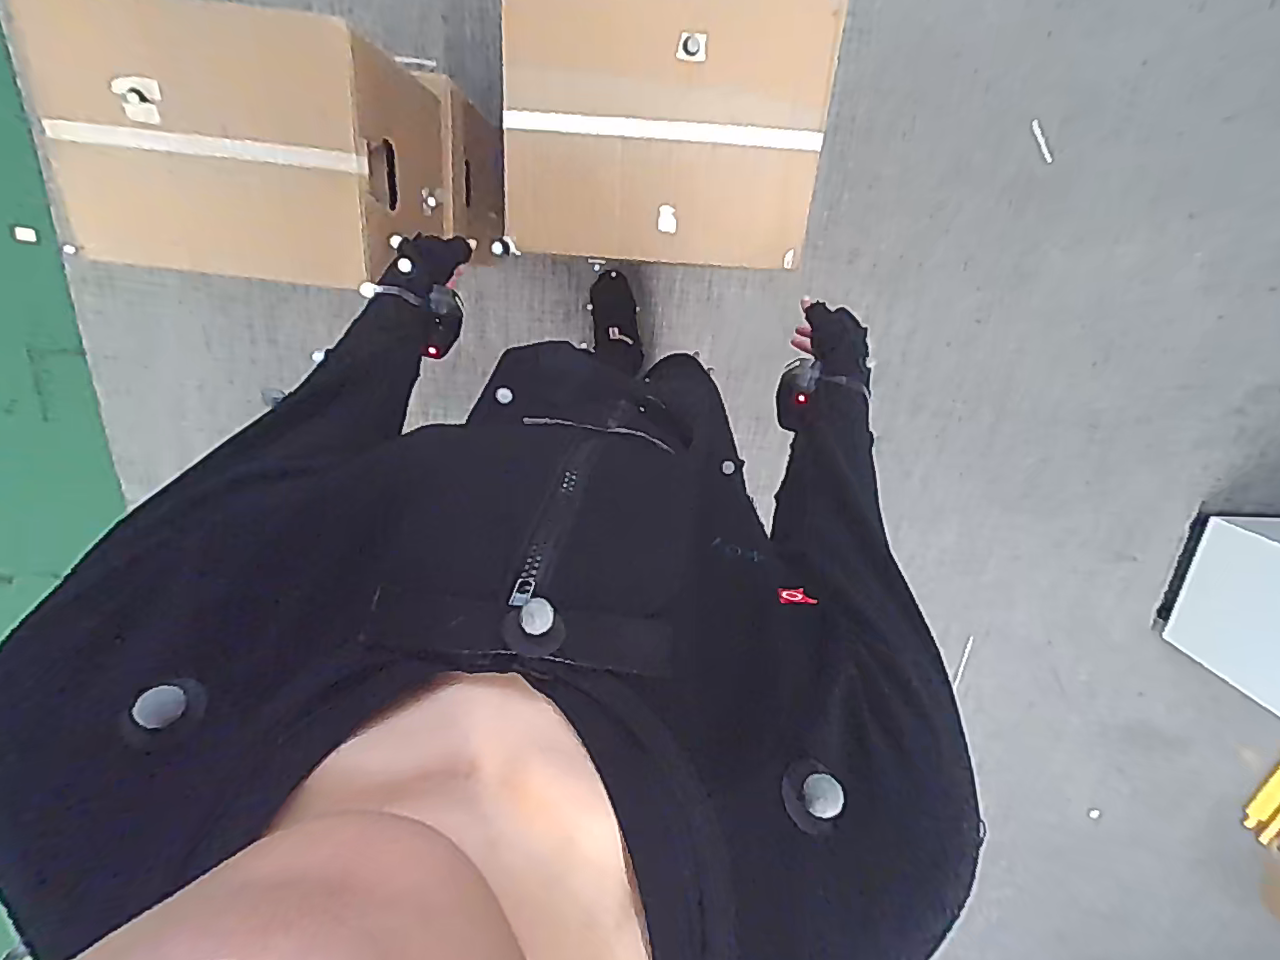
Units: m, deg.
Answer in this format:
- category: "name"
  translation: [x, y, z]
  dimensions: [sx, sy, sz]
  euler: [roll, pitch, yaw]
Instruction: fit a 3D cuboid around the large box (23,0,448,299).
- category: "large box"
  translation: [-0.553, -0.473, 0.842]
  dimensions: [0.408, 0.320, 0.320]
  euler: [7, 111, 0]
